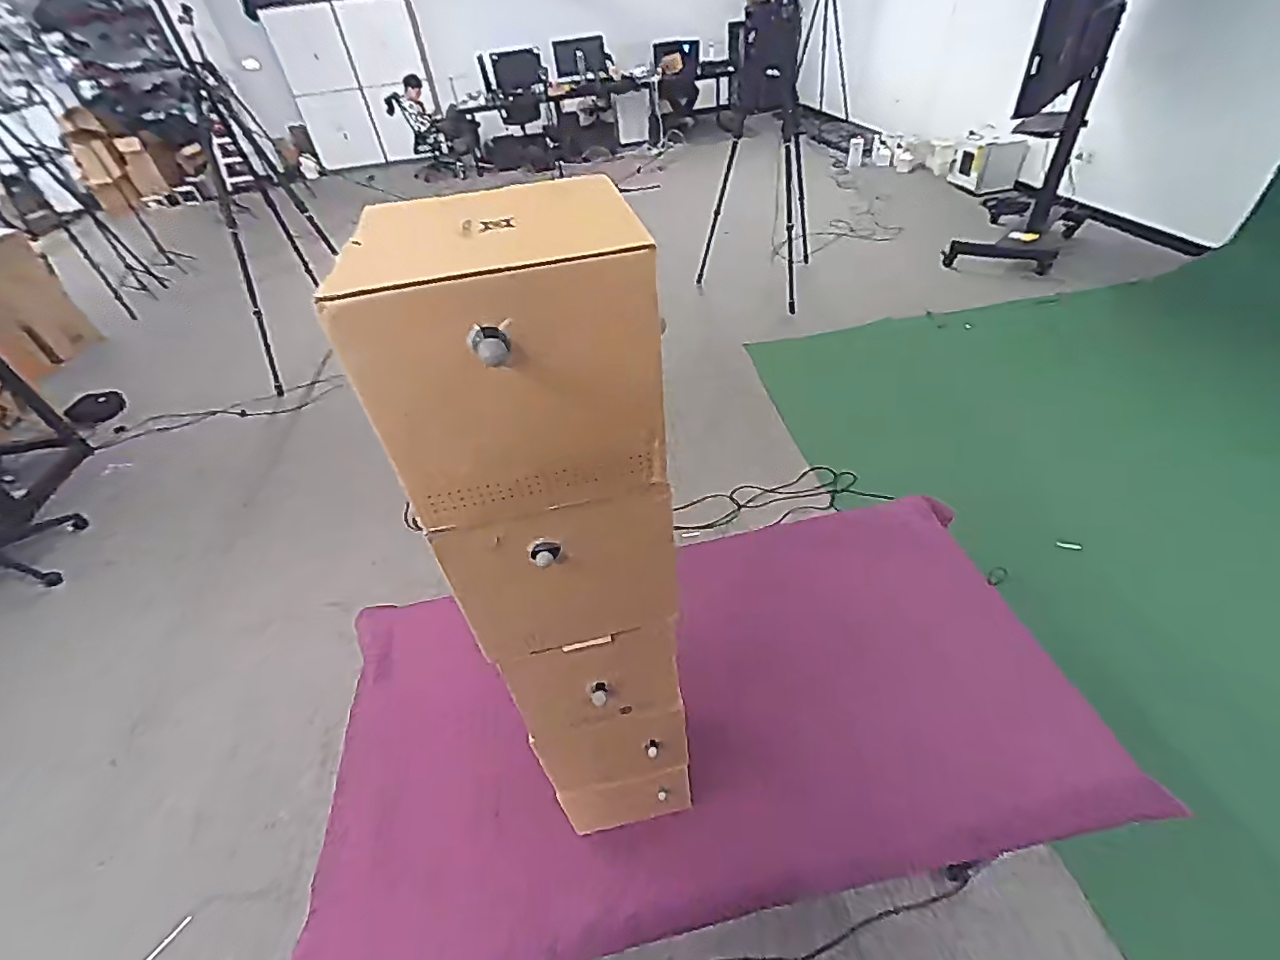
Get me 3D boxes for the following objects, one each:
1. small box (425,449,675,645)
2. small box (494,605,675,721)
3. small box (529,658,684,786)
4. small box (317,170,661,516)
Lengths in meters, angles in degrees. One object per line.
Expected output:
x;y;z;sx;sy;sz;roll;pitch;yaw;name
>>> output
-0.073;0.026;0.491;0.179;0.176;0.168;-11;42;-6;small box
-0.060;0.146;0.603;0.168;0.176;0.179;-11;42;-5;small box
-0.043;0.270;0.707;0.179;0.176;0.168;-11;42;-4;small box
-0.085;-0.098;0.386;0.179;0.176;0.168;-12;42;-5;small box
